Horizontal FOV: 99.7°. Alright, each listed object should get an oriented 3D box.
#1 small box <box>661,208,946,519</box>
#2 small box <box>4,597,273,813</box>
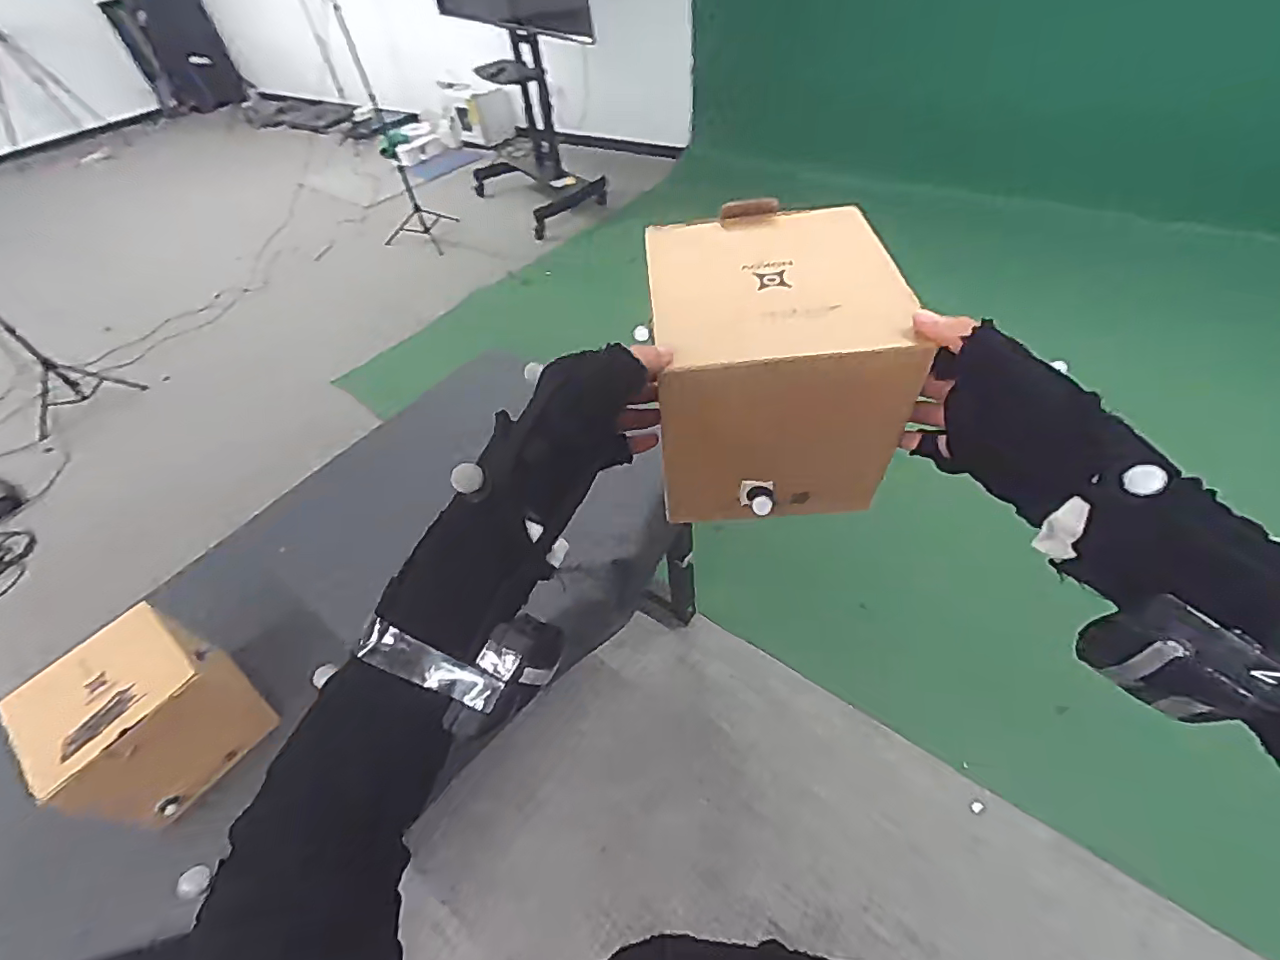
[{"bbox_3d":[0.101,-0.088,0.429,0.168,0.176,0.179,-3,52,3],"label":"small box"},{"bbox_3d":[-0.621,0.290,0.691,0.179,0.176,0.168,26,56,29],"label":"small box"}]
